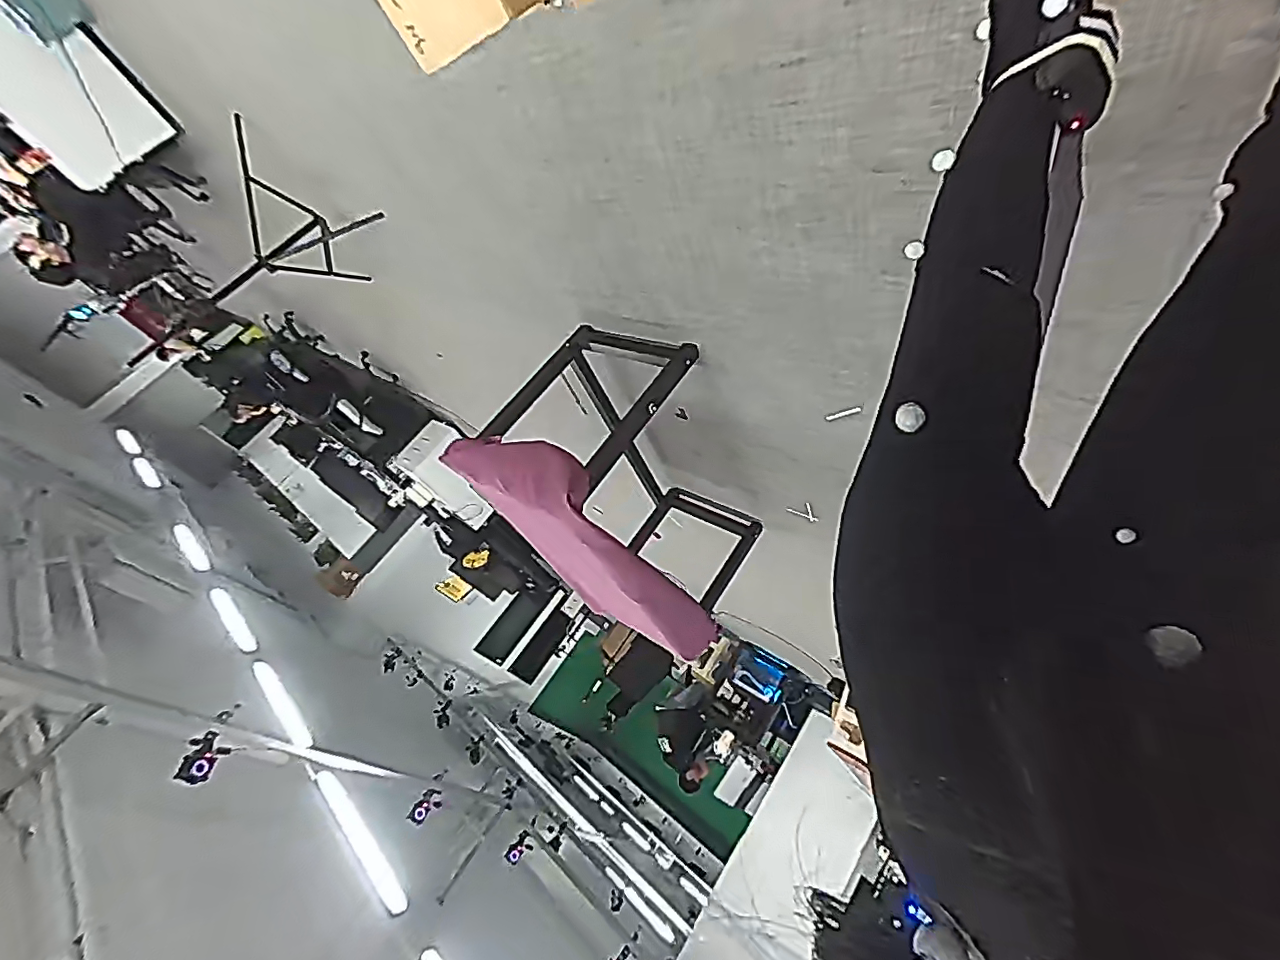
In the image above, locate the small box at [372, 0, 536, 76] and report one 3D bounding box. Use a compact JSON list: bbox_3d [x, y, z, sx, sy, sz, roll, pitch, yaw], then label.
[{"bbox_3d":[-0.158,-0.509,0.474,0.179,0.176,0.168,20,156,44],"label":"small box"}]
